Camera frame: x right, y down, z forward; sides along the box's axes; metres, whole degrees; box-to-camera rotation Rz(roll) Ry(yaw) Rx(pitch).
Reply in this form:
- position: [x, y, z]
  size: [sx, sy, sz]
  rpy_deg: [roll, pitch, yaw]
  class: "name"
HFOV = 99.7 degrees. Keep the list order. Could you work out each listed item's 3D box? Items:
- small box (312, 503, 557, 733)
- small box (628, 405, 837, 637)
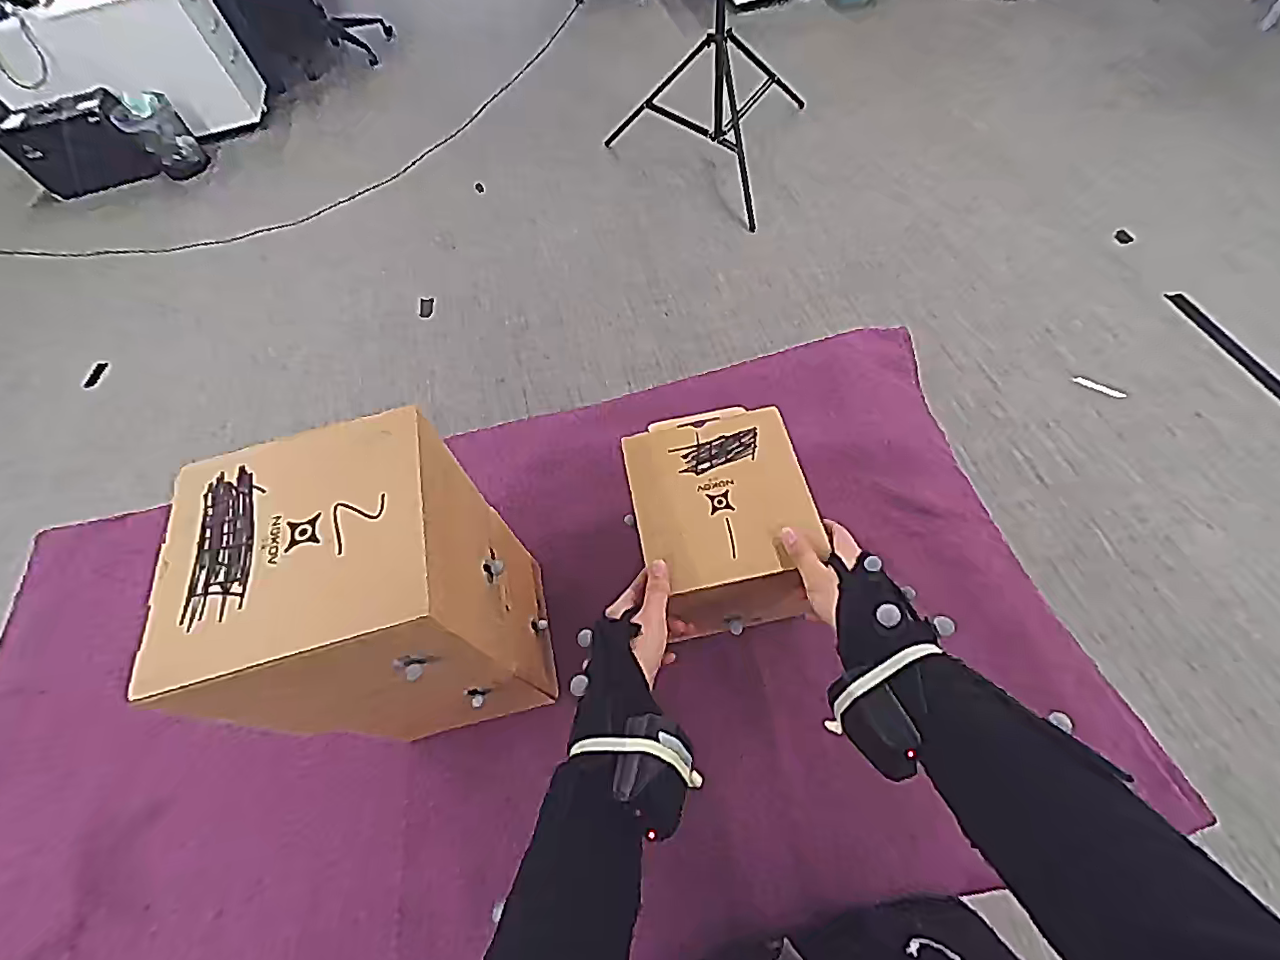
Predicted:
- position: [-0.199, 0.151, 0.562]
  size: [0.179, 0.176, 0.168]
  rpy_deg: [-15, 59, -2]
  class: "small box"
- position: [0.087, 0.051, 0.580]
  size: [0.168, 0.176, 0.179]
  rpy_deg: [-12, 60, 1]
  class: "small box"
